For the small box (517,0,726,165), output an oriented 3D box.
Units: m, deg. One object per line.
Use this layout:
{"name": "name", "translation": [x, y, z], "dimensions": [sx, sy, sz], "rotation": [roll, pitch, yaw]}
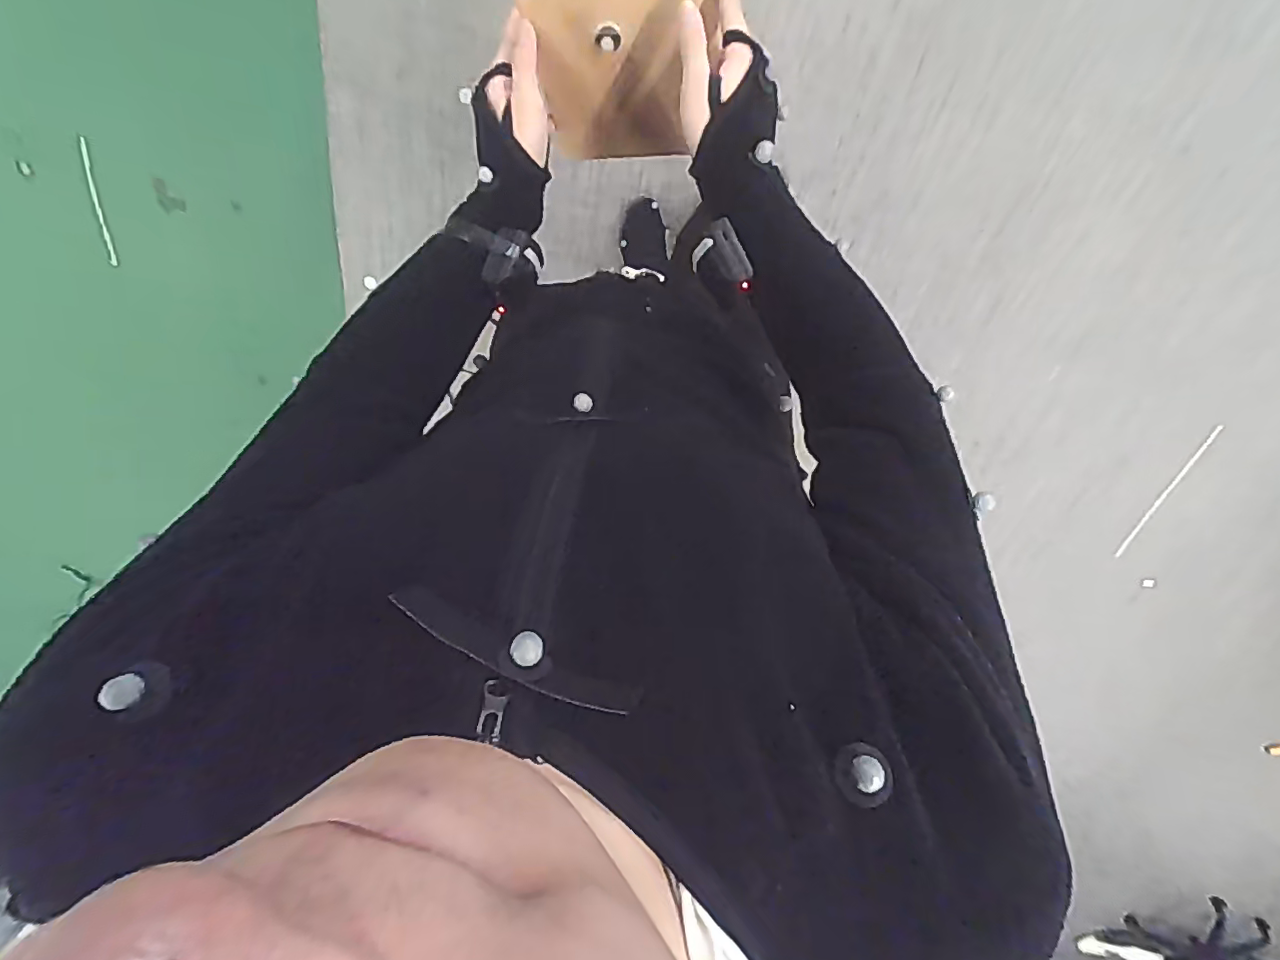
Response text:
{"name": "small box", "translation": [-0.003, -0.455, 0.558], "dimensions": [0.179, 0.168, 0.176], "rotation": [3, 160, 9]}
